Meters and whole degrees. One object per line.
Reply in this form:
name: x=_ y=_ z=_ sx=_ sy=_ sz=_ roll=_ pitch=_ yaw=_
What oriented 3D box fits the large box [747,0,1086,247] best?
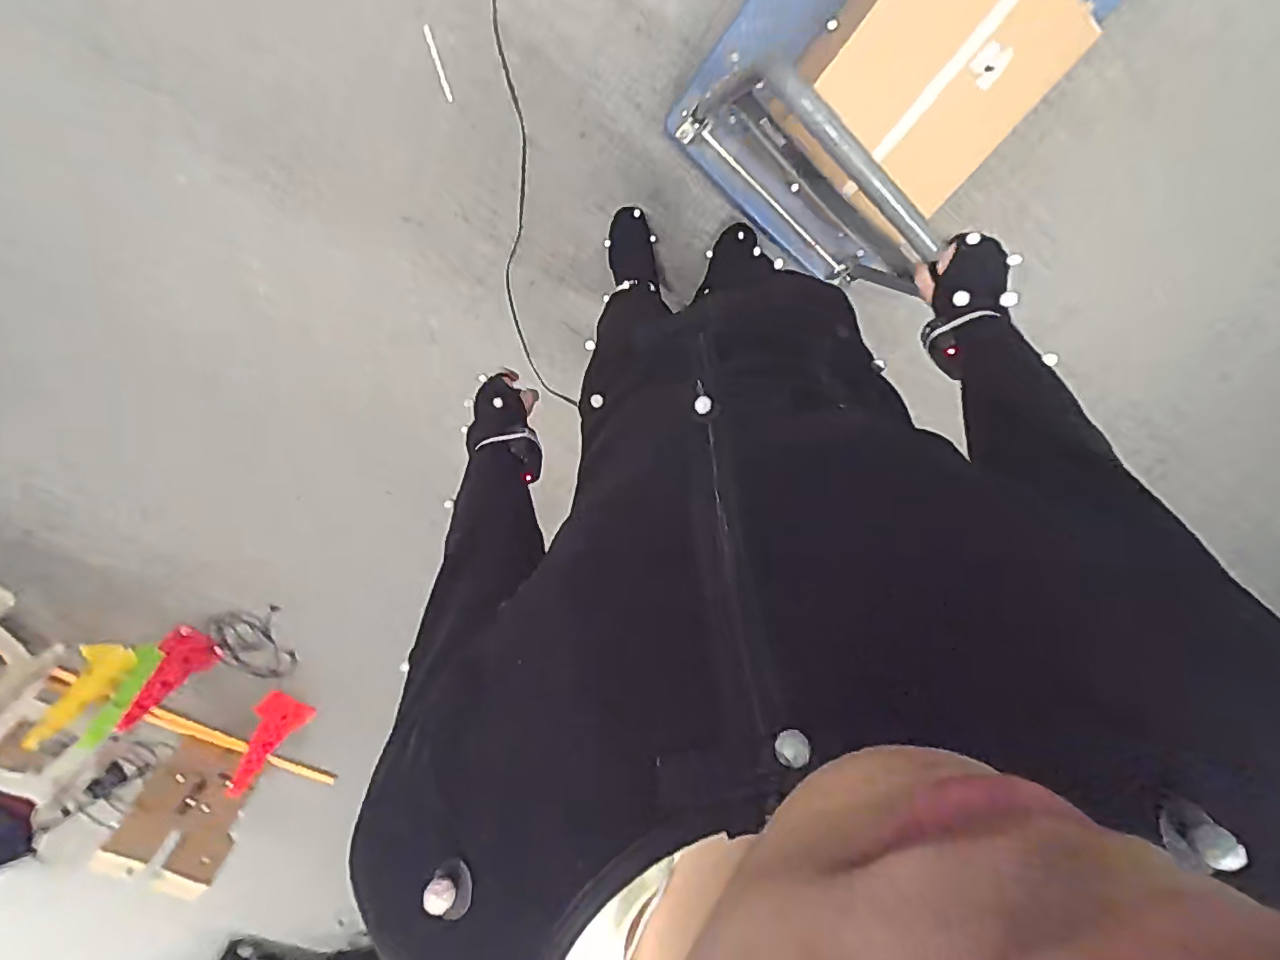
large box: x=0.465 y=-0.715 z=1.010 sx=0.320 sy=0.320 sz=0.408 roll=33 pitch=113 yaw=-19
